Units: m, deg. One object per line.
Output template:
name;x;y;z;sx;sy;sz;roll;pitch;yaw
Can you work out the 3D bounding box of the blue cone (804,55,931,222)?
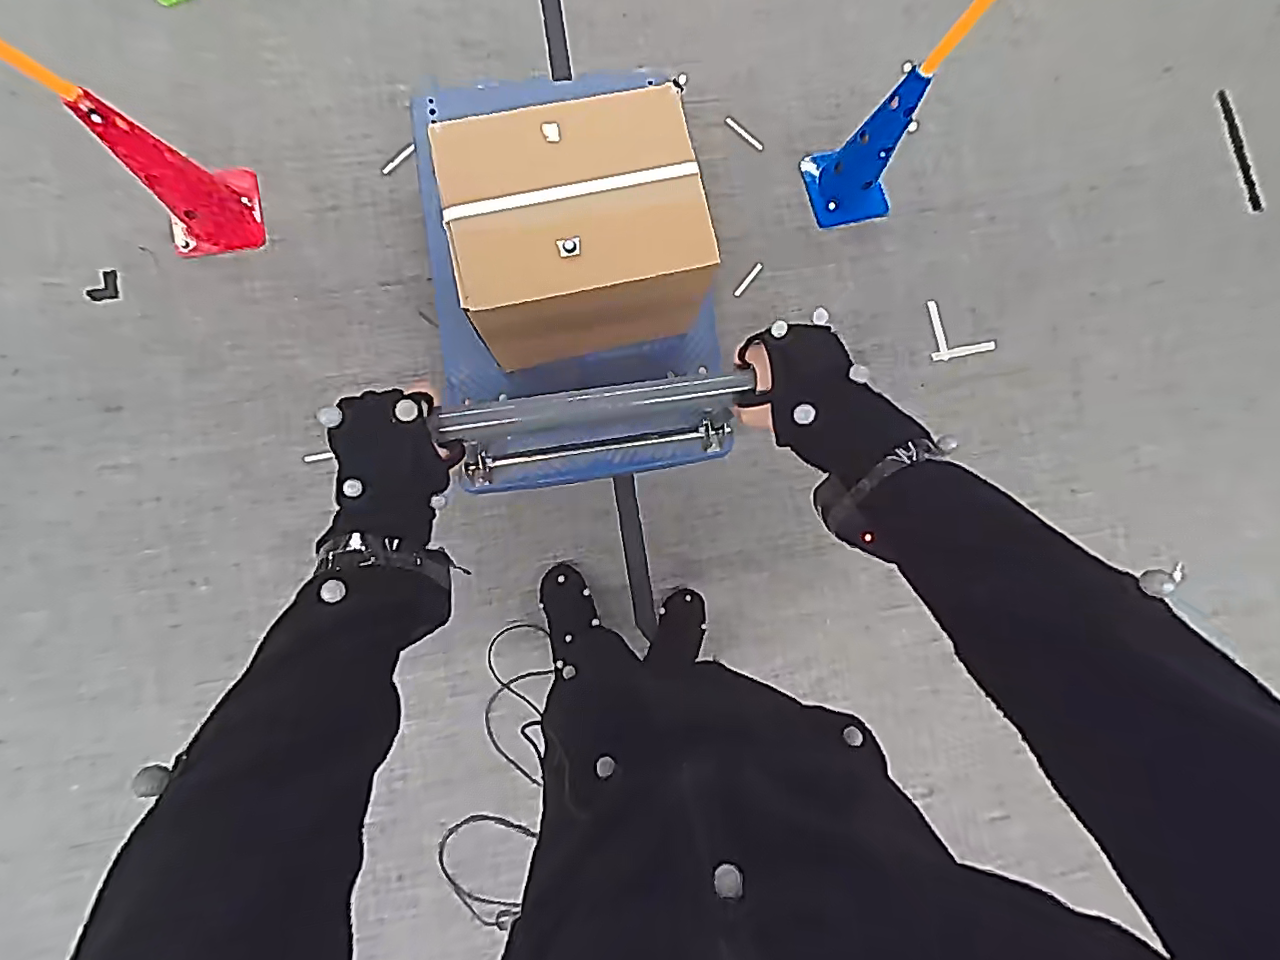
blue cone;0.544;-0.783;1.238;0.193;0.380;0.192;-13;84;-5
